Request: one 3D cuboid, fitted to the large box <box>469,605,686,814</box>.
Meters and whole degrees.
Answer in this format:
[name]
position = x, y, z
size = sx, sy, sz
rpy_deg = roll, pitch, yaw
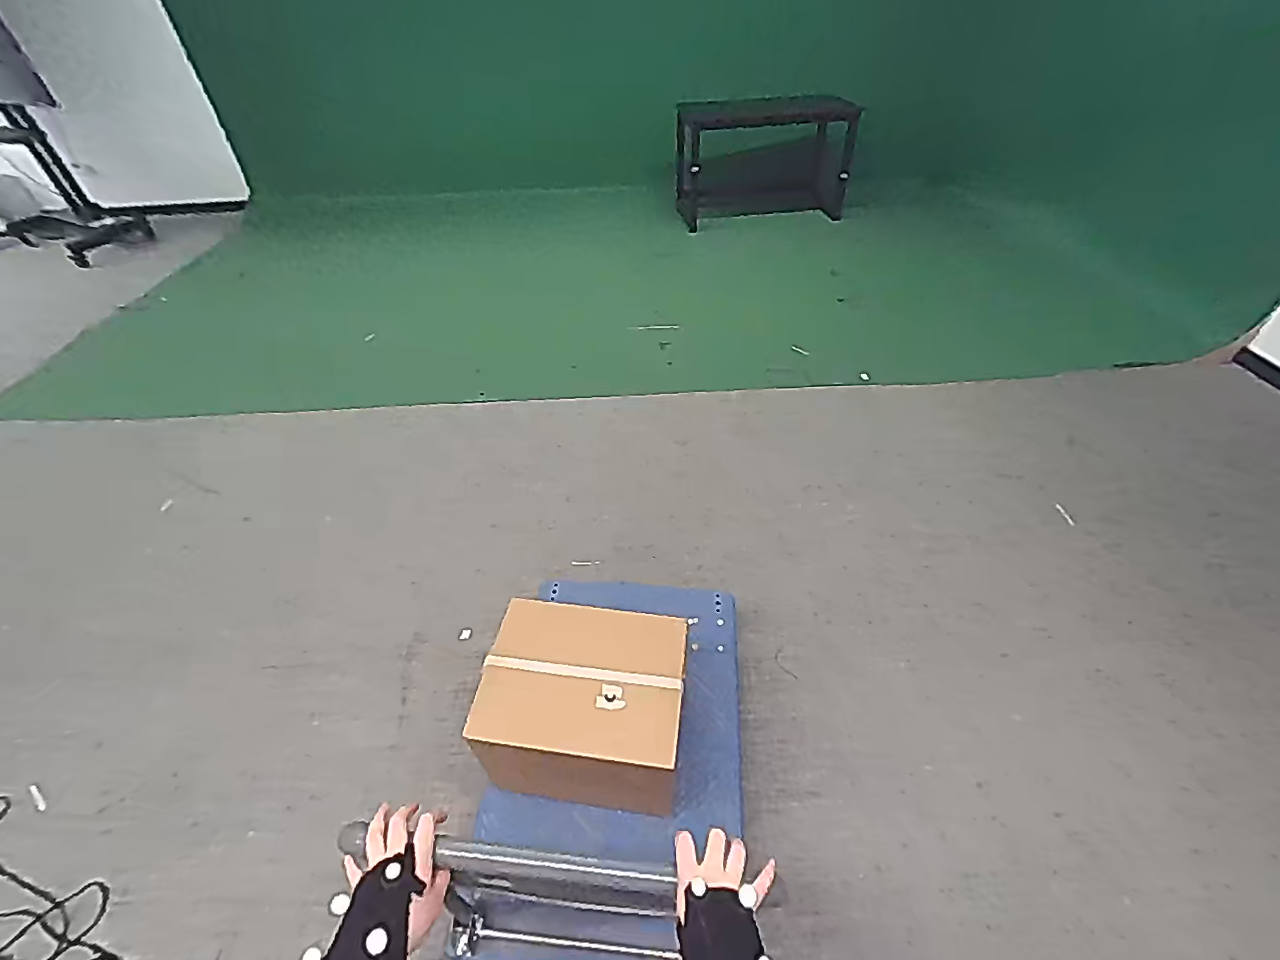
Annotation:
[large box]
position = -0.115, 0.515, 1.220
size = 0.408, 0.320, 0.320
rpy_deg = 6, 44, 6
